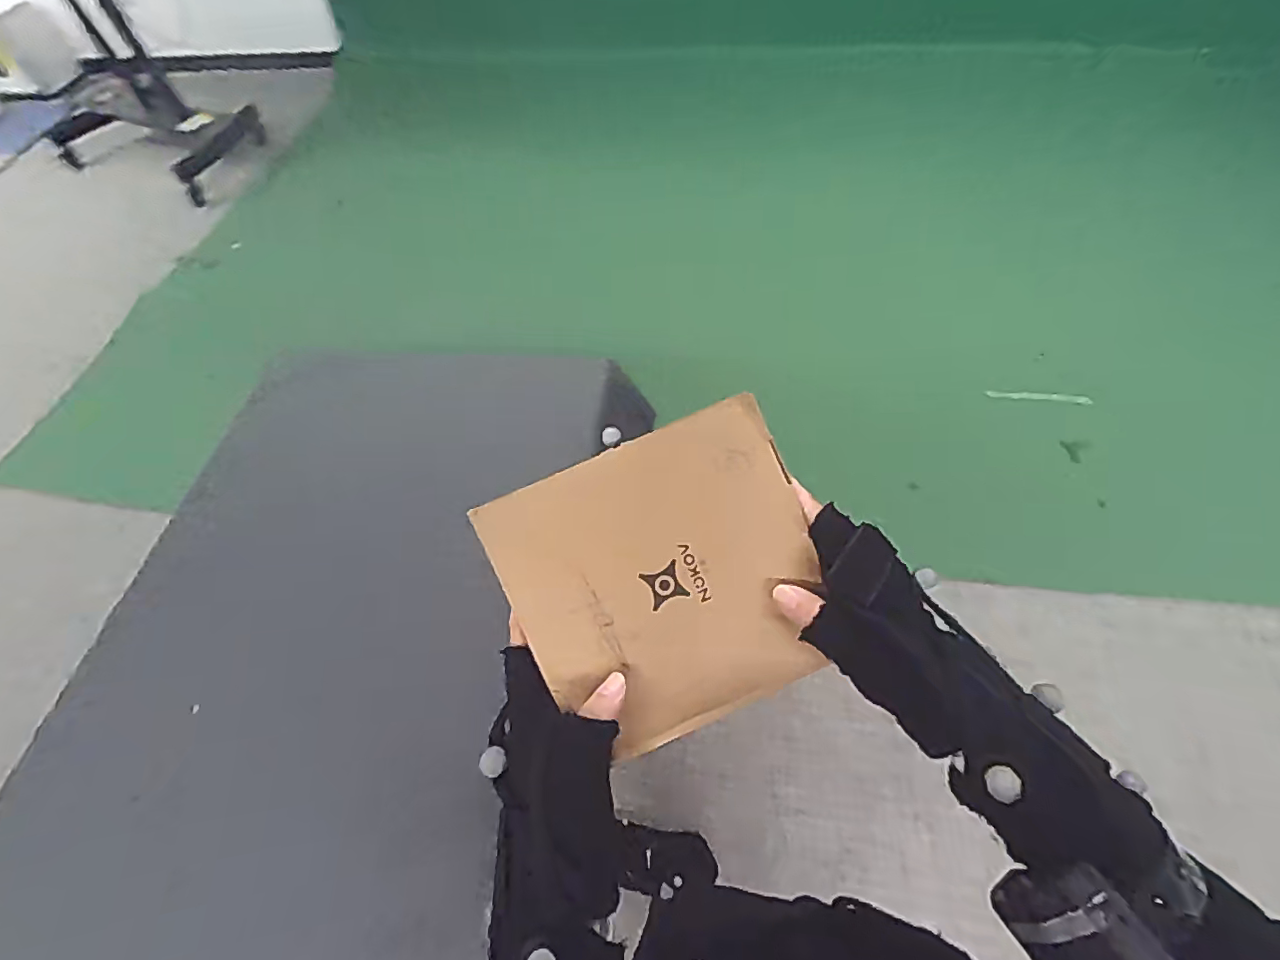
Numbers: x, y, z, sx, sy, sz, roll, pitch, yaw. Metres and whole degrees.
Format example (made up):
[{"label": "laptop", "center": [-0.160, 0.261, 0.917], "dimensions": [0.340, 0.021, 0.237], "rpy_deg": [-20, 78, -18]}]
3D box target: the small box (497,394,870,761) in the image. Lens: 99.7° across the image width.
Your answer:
[{"label": "small box", "center": [0.023, 0.054, 0.391], "dimensions": [0.179, 0.176, 0.168], "rpy_deg": [-23, 91, -2]}]
